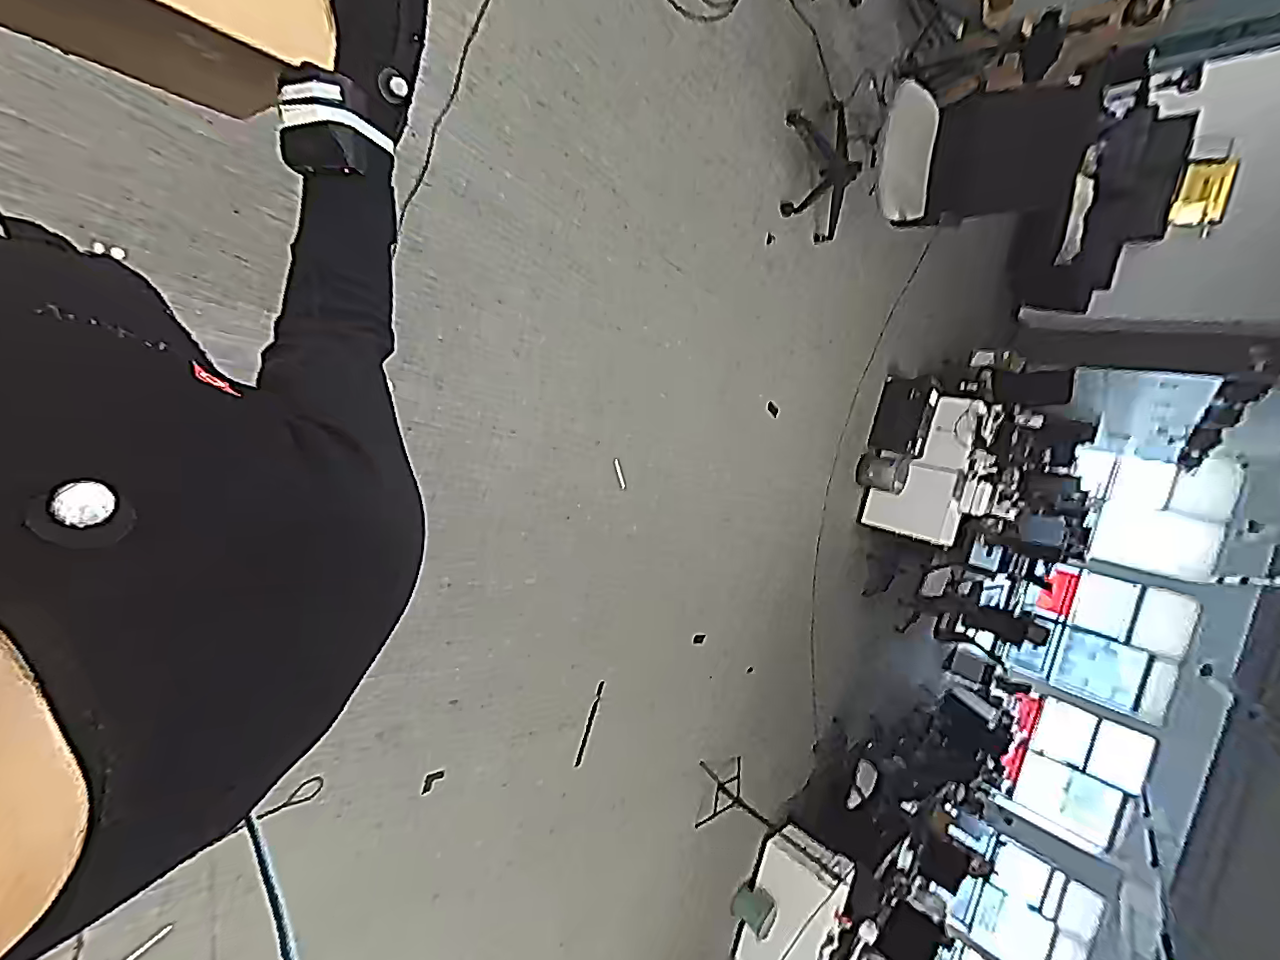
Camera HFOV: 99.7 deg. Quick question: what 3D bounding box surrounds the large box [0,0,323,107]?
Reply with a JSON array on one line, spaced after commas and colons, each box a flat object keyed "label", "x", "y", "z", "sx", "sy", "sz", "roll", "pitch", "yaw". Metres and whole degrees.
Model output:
[{"label": "large box", "x": -0.455, "y": -0.499, "z": 0.329, "sx": 0.408, "sy": 0.320, "sz": 0.320, "roll": -2, "pitch": 112, "yaw": -47}]
